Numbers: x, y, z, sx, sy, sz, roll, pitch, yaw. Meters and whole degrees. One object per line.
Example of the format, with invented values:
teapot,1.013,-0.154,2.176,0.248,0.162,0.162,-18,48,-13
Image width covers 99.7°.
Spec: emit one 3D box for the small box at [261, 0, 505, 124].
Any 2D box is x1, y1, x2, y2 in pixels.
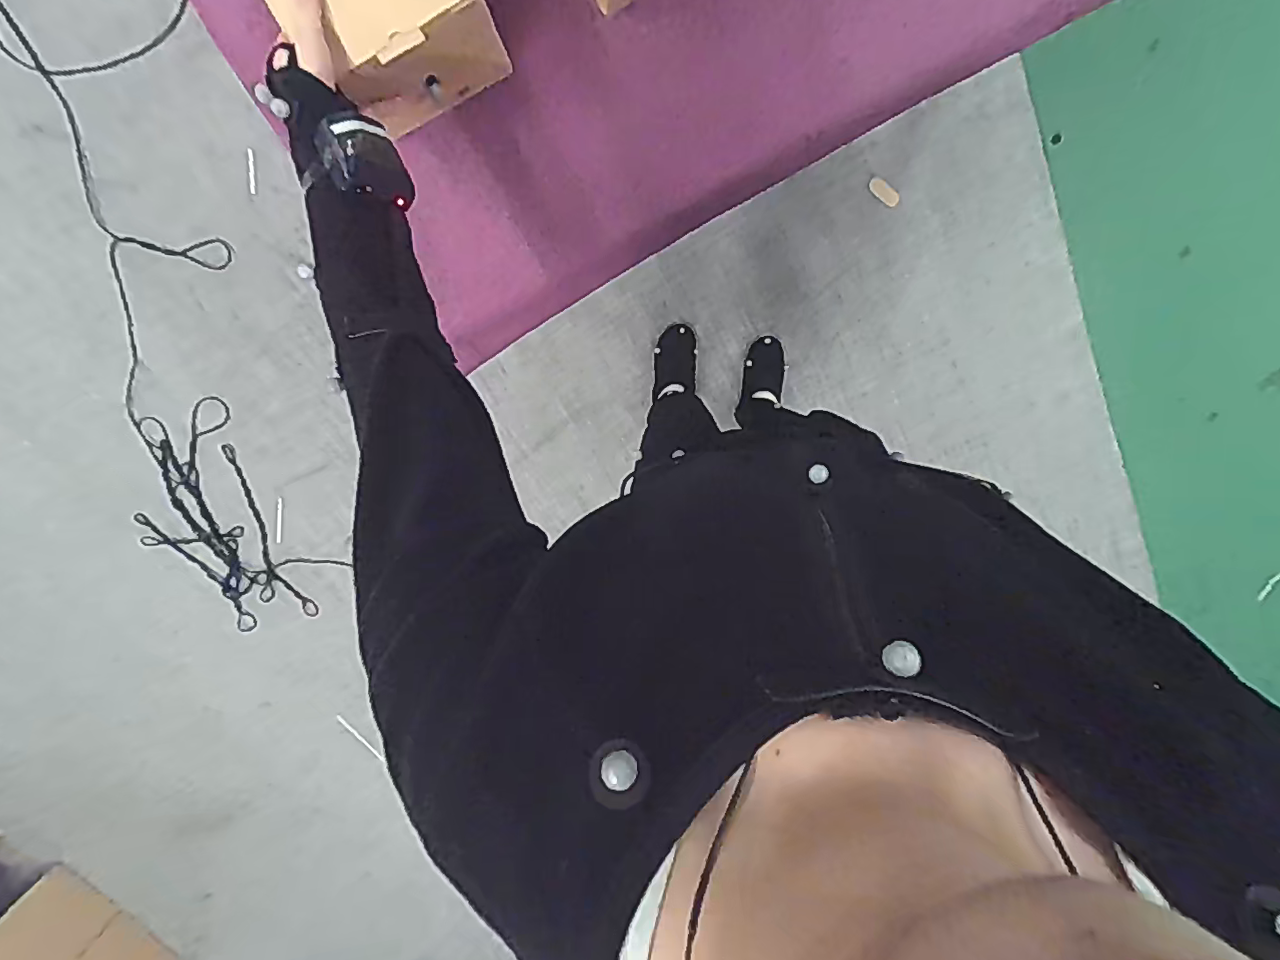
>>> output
small box,-0.247,-0.467,0.504,0.168,0.176,0.179,-25,109,5
